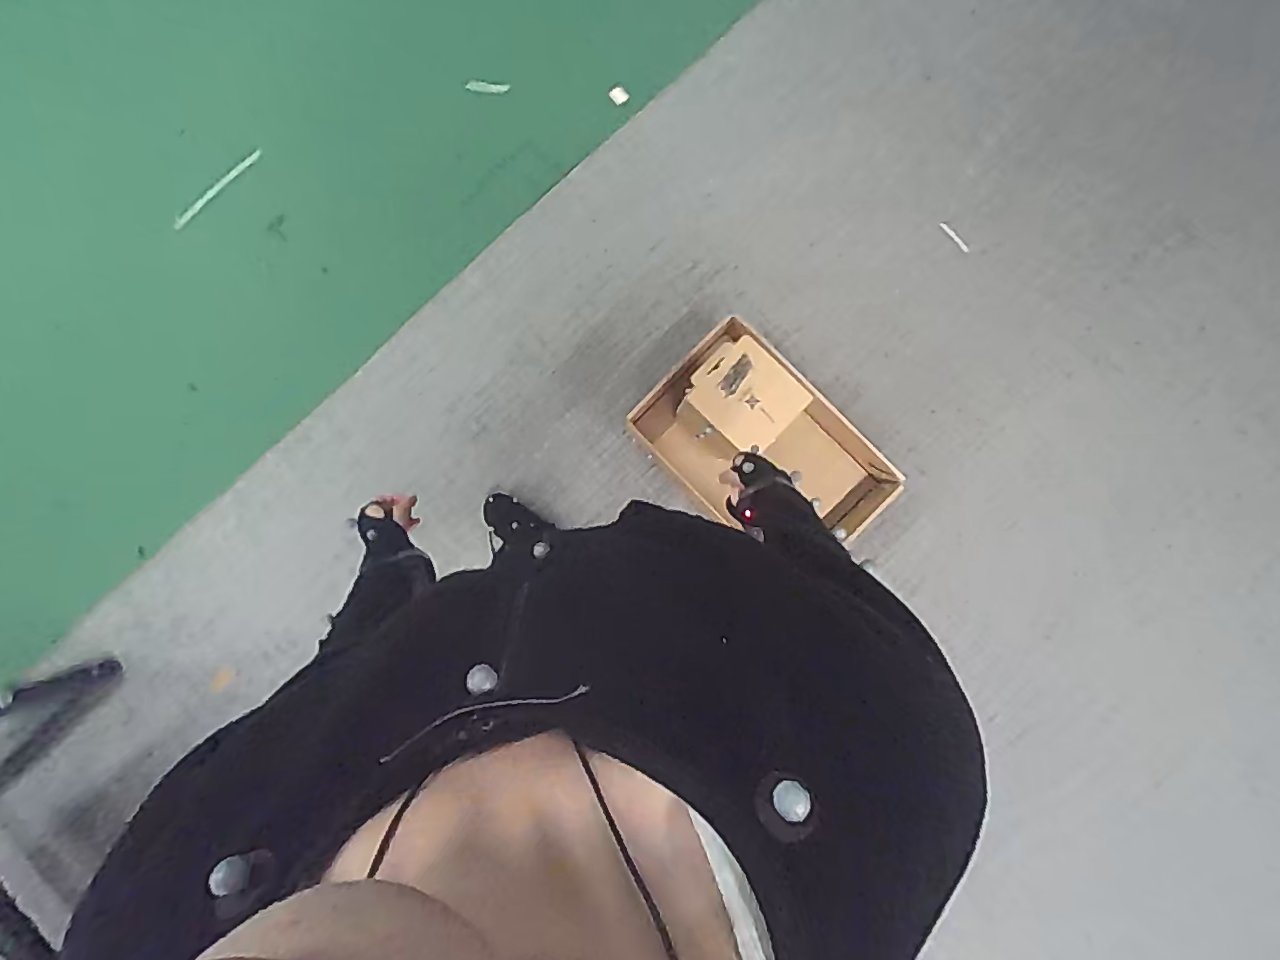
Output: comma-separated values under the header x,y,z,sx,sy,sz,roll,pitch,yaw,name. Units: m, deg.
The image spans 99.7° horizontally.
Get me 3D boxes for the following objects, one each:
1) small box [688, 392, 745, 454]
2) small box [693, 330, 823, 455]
x,y,z,sx,sy,sz,roll,pitch,yaw,name
0.224,-0.170,1.229,0.179,0.176,0.168,44,93,0,small box
0.219,-0.161,1.066,0.179,0.176,0.168,44,93,0,small box
